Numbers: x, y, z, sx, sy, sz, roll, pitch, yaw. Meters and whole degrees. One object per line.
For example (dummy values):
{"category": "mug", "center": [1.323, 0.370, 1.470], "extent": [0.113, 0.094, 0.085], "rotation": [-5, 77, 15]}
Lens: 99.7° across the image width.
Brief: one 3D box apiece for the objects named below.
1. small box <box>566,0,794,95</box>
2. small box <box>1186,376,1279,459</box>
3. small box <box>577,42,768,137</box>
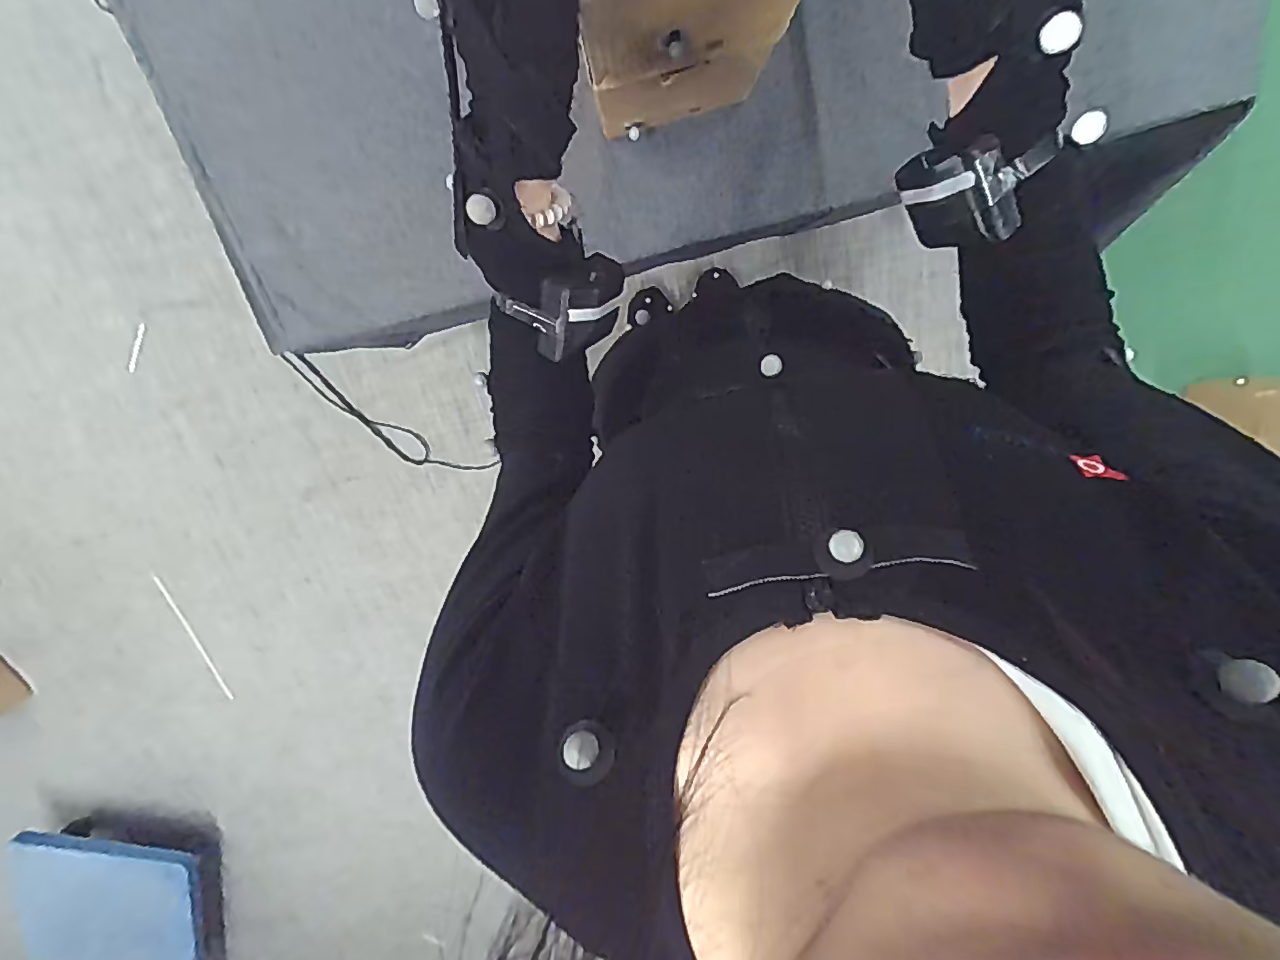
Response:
{"category": "small box", "center": [0.016, -0.410, 0.370], "extent": [0.168, 0.176, 0.179], "rotation": [-13, 108, 5]}
{"category": "small box", "center": [1.553, -0.162, 1.367], "extent": [0.179, 0.176, 0.168], "rotation": [-8, 108, 4]}
{"category": "small box", "center": [0.016, -0.461, 0.524], "extent": [0.168, 0.176, 0.179], "rotation": [-14, 107, 5]}
